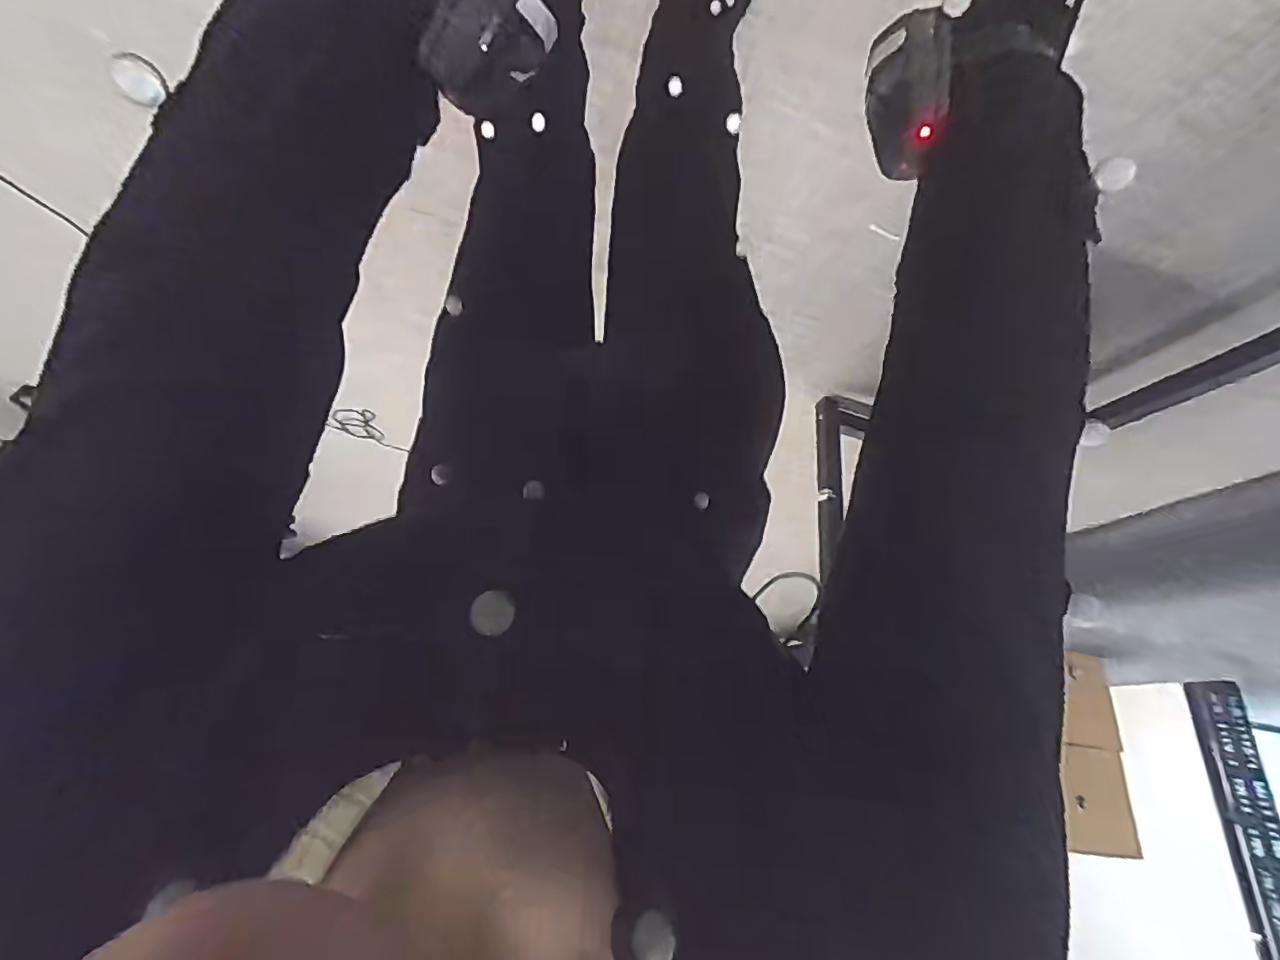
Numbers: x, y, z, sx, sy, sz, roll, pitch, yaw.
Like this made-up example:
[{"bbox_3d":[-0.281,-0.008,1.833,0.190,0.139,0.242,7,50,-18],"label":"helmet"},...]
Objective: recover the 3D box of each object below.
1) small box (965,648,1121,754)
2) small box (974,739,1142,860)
[{"bbox_3d":[0.776,0.430,1.062,0.179,0.176,0.168,13,155,-11],"label":"small box"},{"bbox_3d":[0.755,0.579,0.998,0.179,0.176,0.168,13,156,-15],"label":"small box"}]
